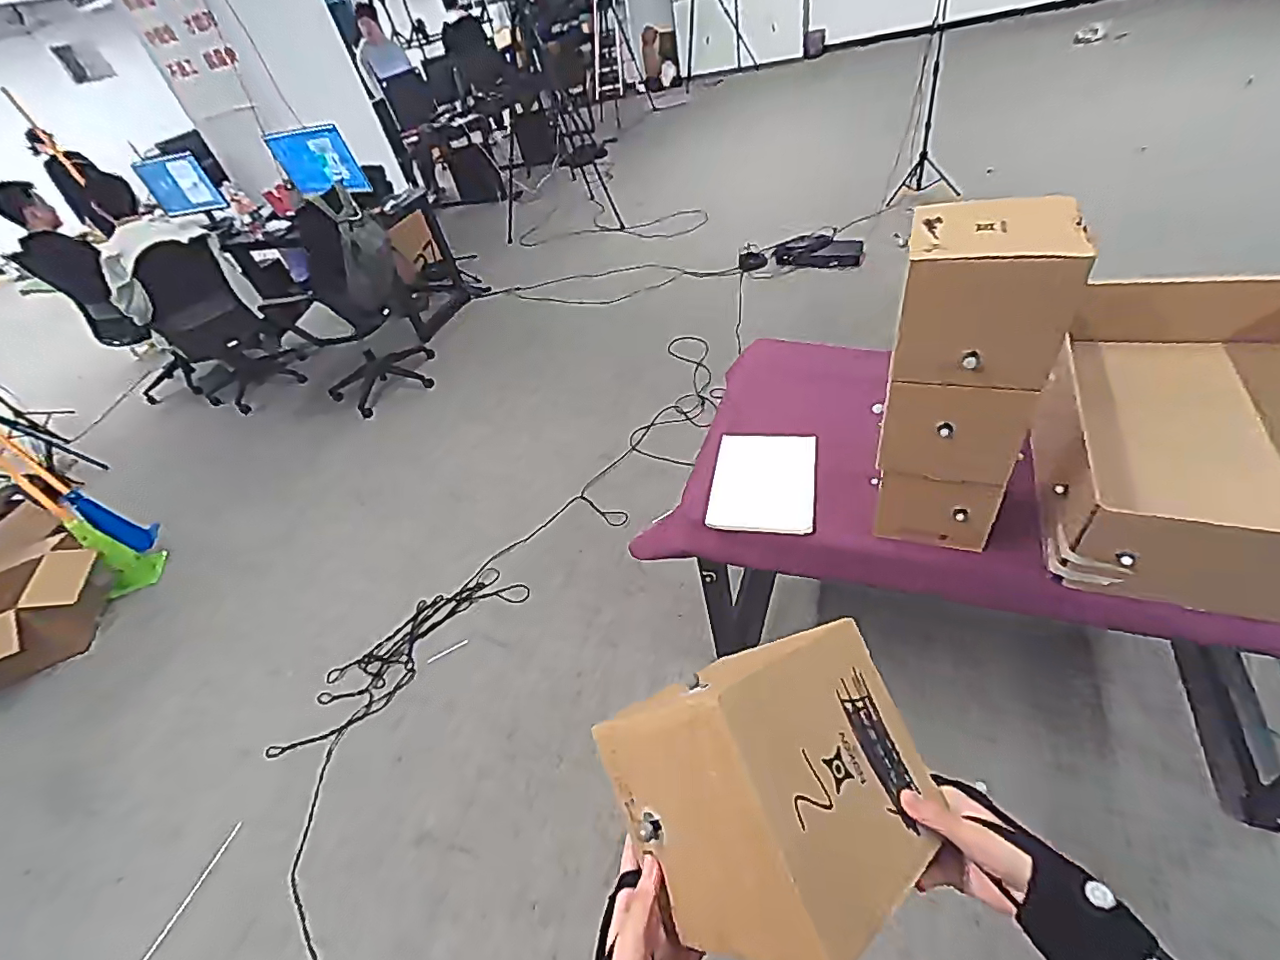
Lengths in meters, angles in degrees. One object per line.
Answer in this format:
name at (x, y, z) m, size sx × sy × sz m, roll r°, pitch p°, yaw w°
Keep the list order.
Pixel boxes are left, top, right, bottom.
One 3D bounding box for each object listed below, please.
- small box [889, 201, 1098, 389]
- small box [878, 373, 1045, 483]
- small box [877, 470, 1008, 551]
small box at (0.428, -0.231, 0.682) m, size 0.179 × 0.176 × 0.168 m, roll 9°, pitch 47°, yaw 23°
small box at (0.460, -0.114, 0.794) m, size 0.179 × 0.176 × 0.168 m, roll 8°, pitch 47°, yaw 24°
small box at (0.501, -0.004, 0.908) m, size 0.168 × 0.176 × 0.179 m, roll 9°, pitch 47°, yaw 24°
